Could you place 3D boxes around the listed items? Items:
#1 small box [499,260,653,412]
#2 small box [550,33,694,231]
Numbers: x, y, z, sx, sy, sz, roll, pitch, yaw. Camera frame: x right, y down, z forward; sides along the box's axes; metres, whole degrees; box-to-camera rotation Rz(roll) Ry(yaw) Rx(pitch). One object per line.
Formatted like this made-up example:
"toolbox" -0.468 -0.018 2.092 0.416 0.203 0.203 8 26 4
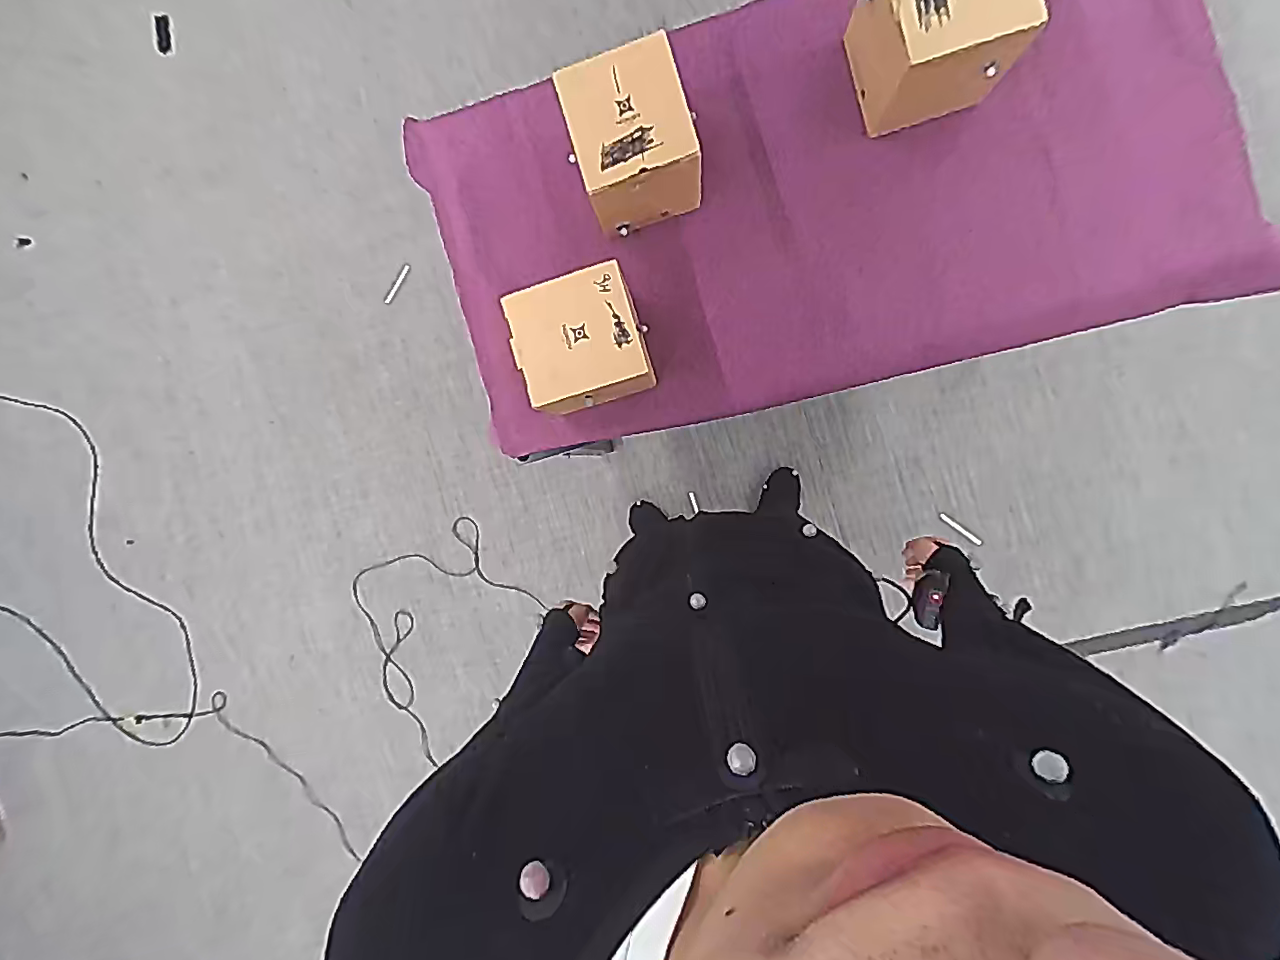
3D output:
"small box" -0.089 -0.209 0.839 0.179 0.176 0.168 -16 91 7
"small box" -0.017 -0.505 0.821 0.168 0.176 0.179 -17 90 6
